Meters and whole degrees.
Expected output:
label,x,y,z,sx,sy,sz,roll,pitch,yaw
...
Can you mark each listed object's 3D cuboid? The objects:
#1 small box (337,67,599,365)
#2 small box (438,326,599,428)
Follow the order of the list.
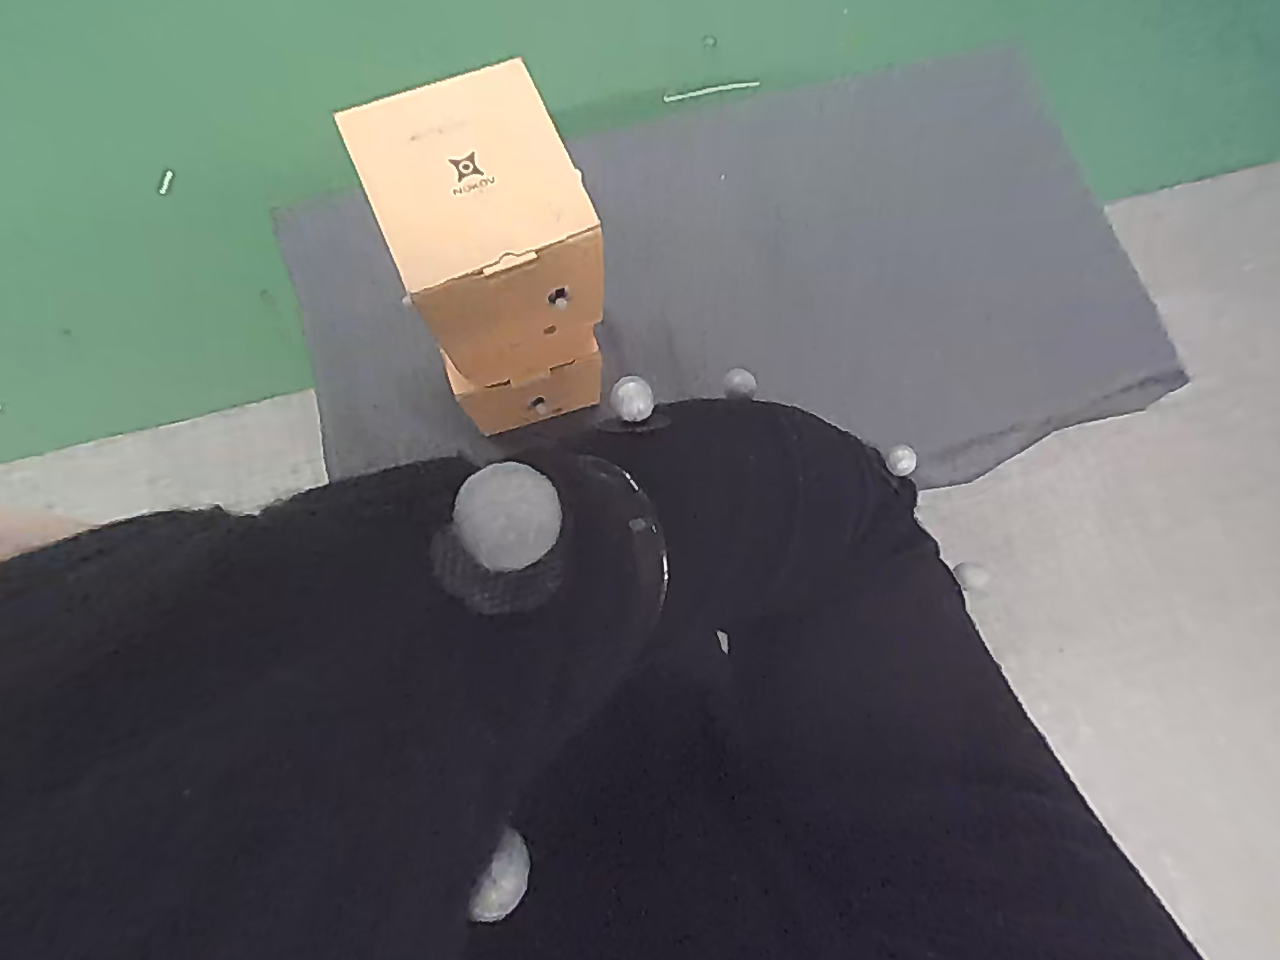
label,x,y,z,sx,sy,sz,roll,pitch,yaw
small box,-0.146,-0.230,0.518,0.168,0.176,0.179,-24,81,-9
small box,-0.153,-0.175,0.673,0.168,0.176,0.179,-18,82,-8
